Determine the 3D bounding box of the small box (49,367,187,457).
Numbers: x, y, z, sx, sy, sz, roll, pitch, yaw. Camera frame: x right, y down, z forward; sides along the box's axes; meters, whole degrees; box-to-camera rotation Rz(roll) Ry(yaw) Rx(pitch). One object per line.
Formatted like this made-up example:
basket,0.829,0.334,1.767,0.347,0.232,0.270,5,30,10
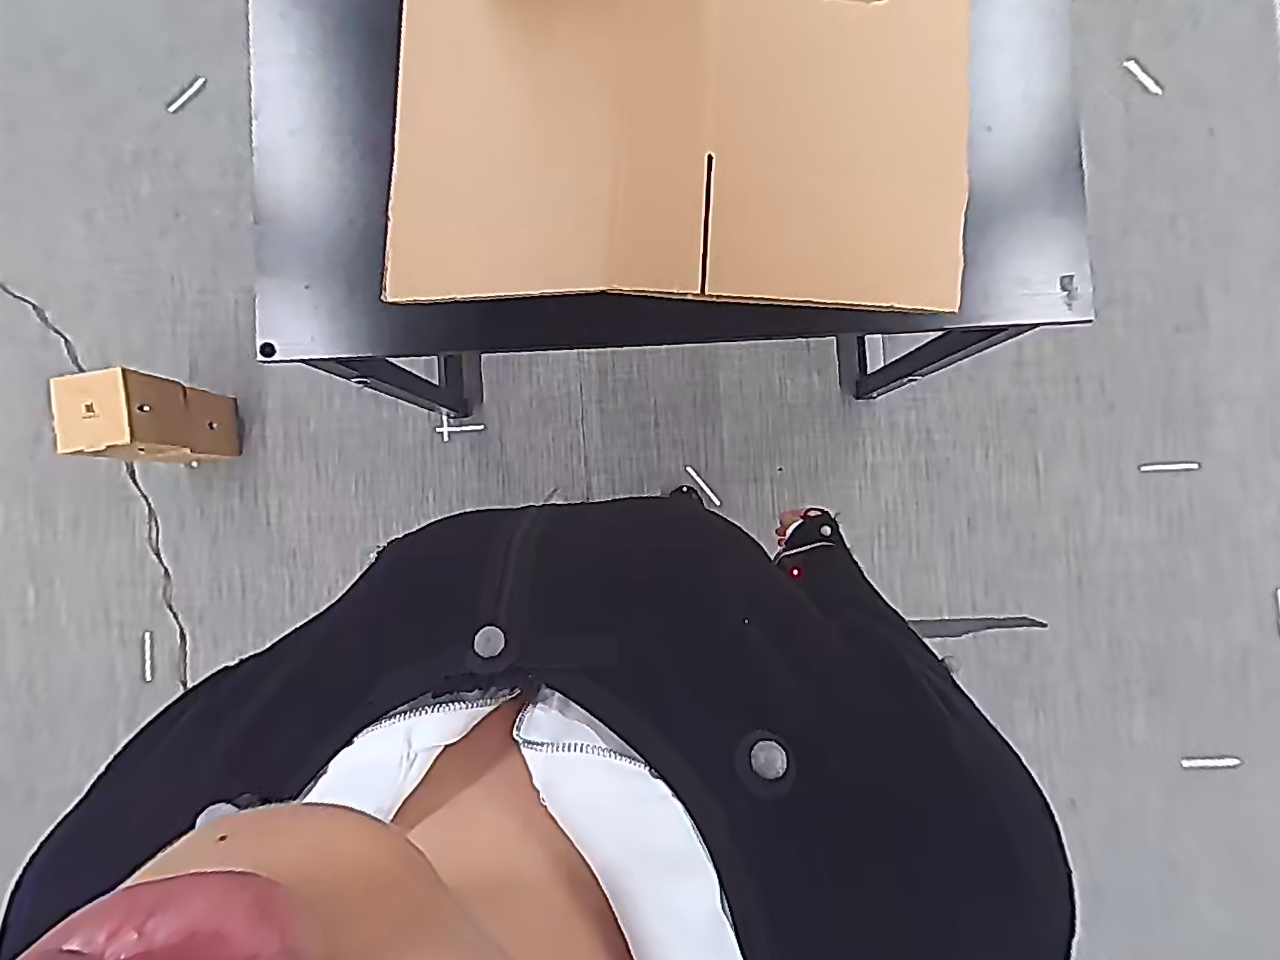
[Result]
small box,-1.224,-0.152,1.282,0.168,0.176,0.179,-10,87,0

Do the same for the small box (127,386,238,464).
small box,-1.220,-0.141,1.444,0.168,0.176,0.179,-7,89,1
